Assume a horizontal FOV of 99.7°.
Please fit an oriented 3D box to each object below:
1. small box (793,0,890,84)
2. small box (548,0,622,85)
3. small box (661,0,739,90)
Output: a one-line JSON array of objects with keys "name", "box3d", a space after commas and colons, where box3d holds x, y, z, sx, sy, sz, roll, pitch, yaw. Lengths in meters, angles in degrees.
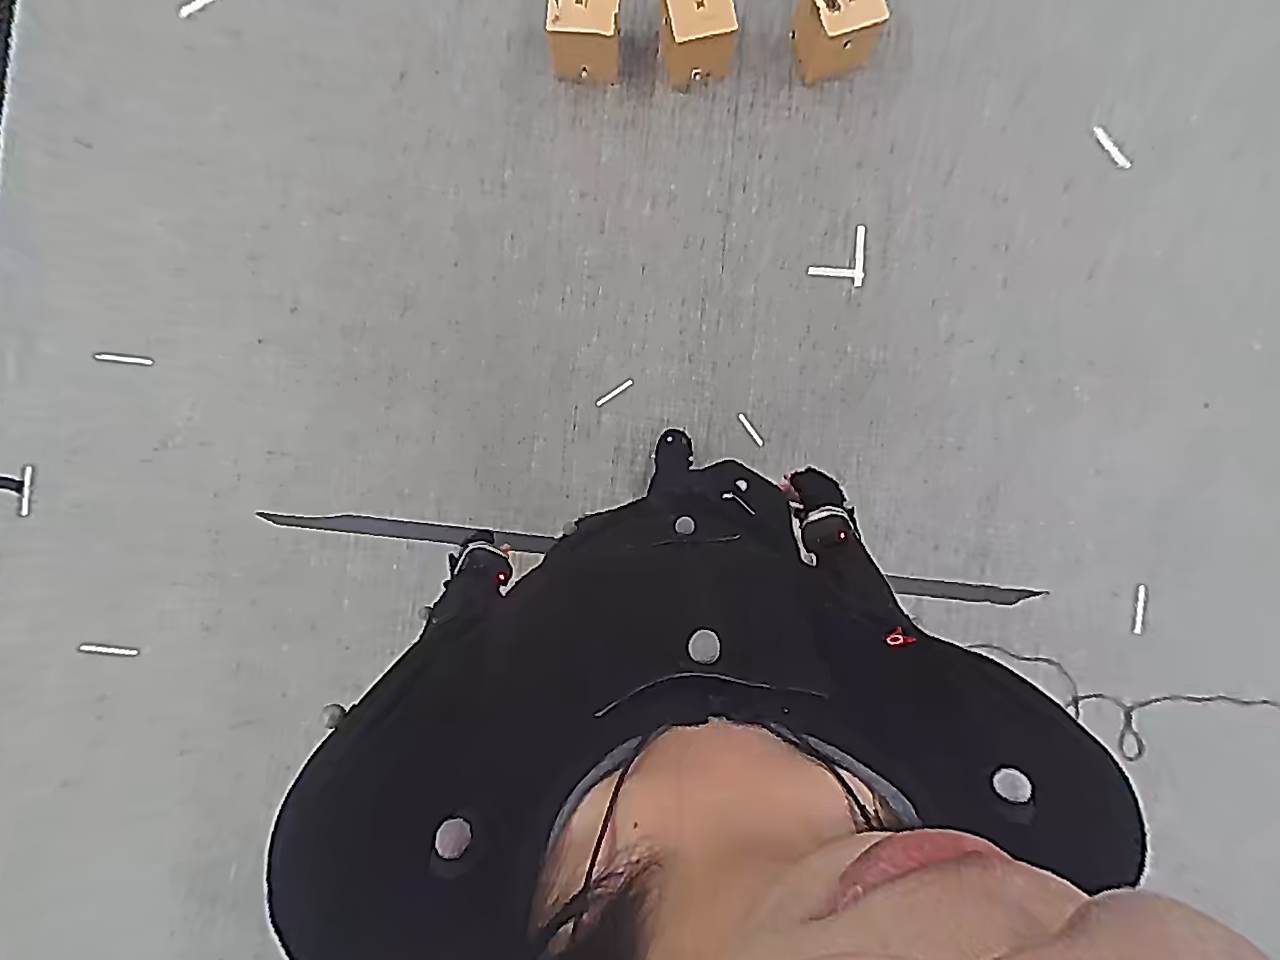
[{"name": "small box", "box3d": [0.529, -1.219, 1.454, 0.179, 0.176, 0.168, -19, 90, -2]}, {"name": "small box", "box3d": [-0.142, -1.201, 1.447, 0.179, 0.176, 0.168, 5, 89, 0]}, {"name": "small box", "box3d": [0.155, -1.203, 1.450, 0.168, 0.176, 0.179, -13, 90, 0]}]
